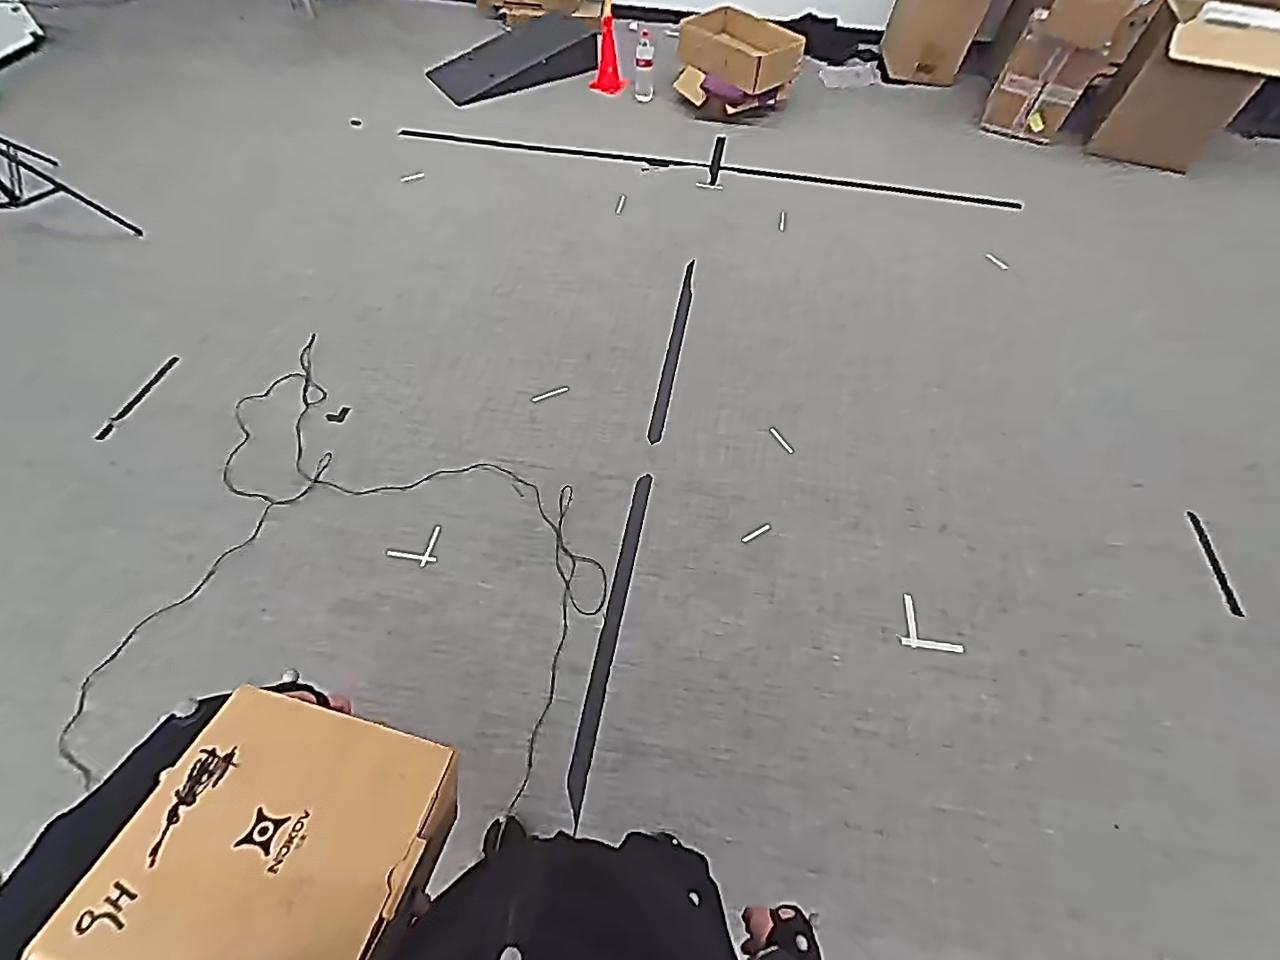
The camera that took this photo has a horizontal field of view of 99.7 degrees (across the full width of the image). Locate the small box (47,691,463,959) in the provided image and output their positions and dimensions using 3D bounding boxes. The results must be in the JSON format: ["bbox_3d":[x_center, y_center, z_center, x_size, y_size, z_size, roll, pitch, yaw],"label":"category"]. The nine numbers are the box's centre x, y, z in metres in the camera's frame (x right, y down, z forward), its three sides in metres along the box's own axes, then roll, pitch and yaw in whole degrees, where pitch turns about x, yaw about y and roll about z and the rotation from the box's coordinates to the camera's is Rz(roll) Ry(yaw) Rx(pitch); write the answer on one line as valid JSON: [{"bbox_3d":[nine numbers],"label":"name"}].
[{"bbox_3d":[-0.254,0.297,0.415,0.179,0.176,0.168,18,42,-1],"label":"small box"}]
